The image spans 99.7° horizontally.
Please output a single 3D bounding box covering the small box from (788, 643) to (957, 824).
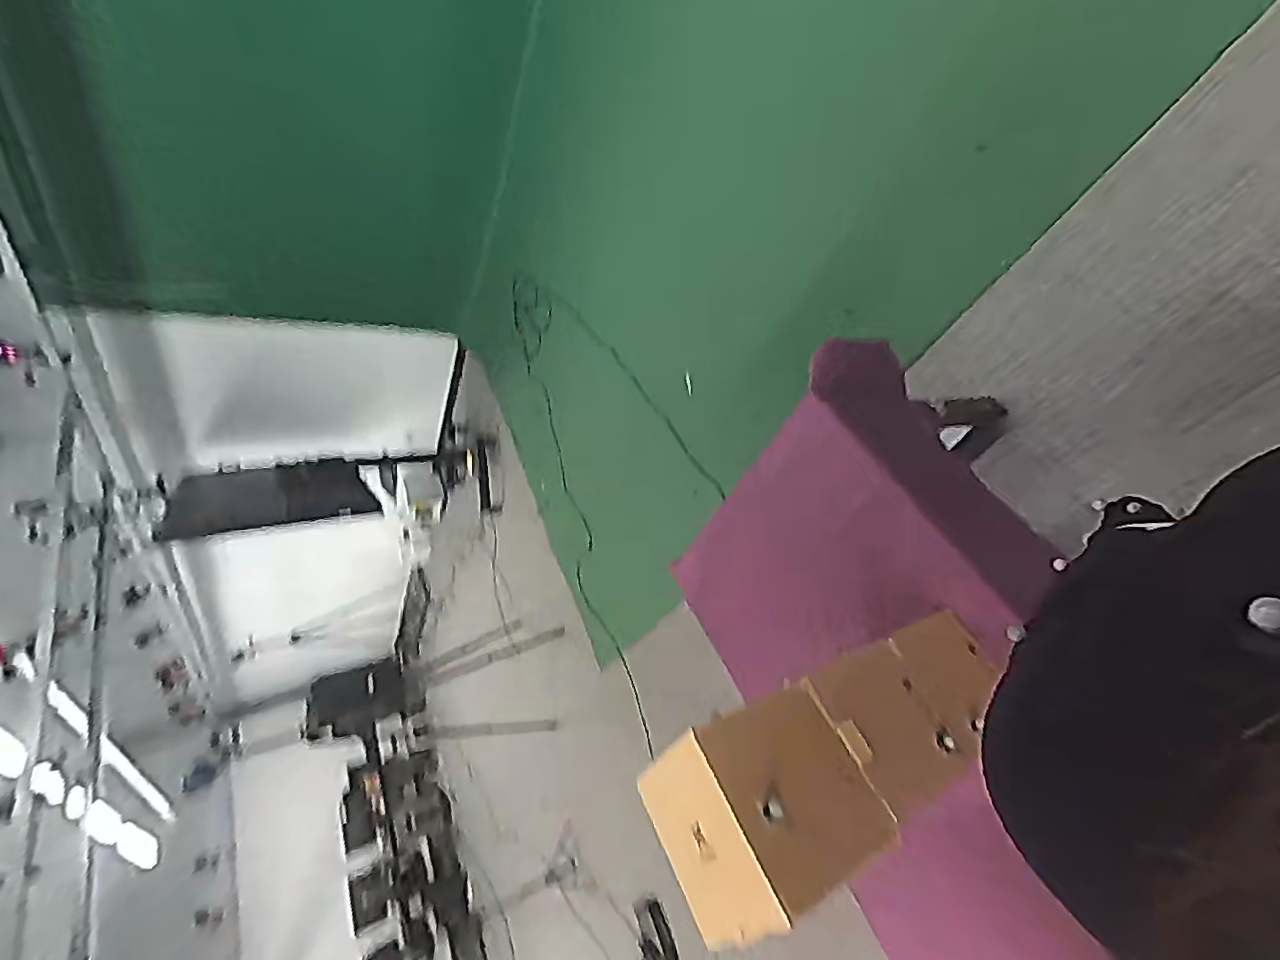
[{"bbox_3d":[0.264,0.335,0.691,0.168,0.176,0.179,59,140,31],"label":"small box"}]

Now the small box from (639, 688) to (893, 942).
[{"bbox_3d":[0.131,0.355,0.599,0.179,0.176,0.168,57,138,31],"label":"small box"}]
